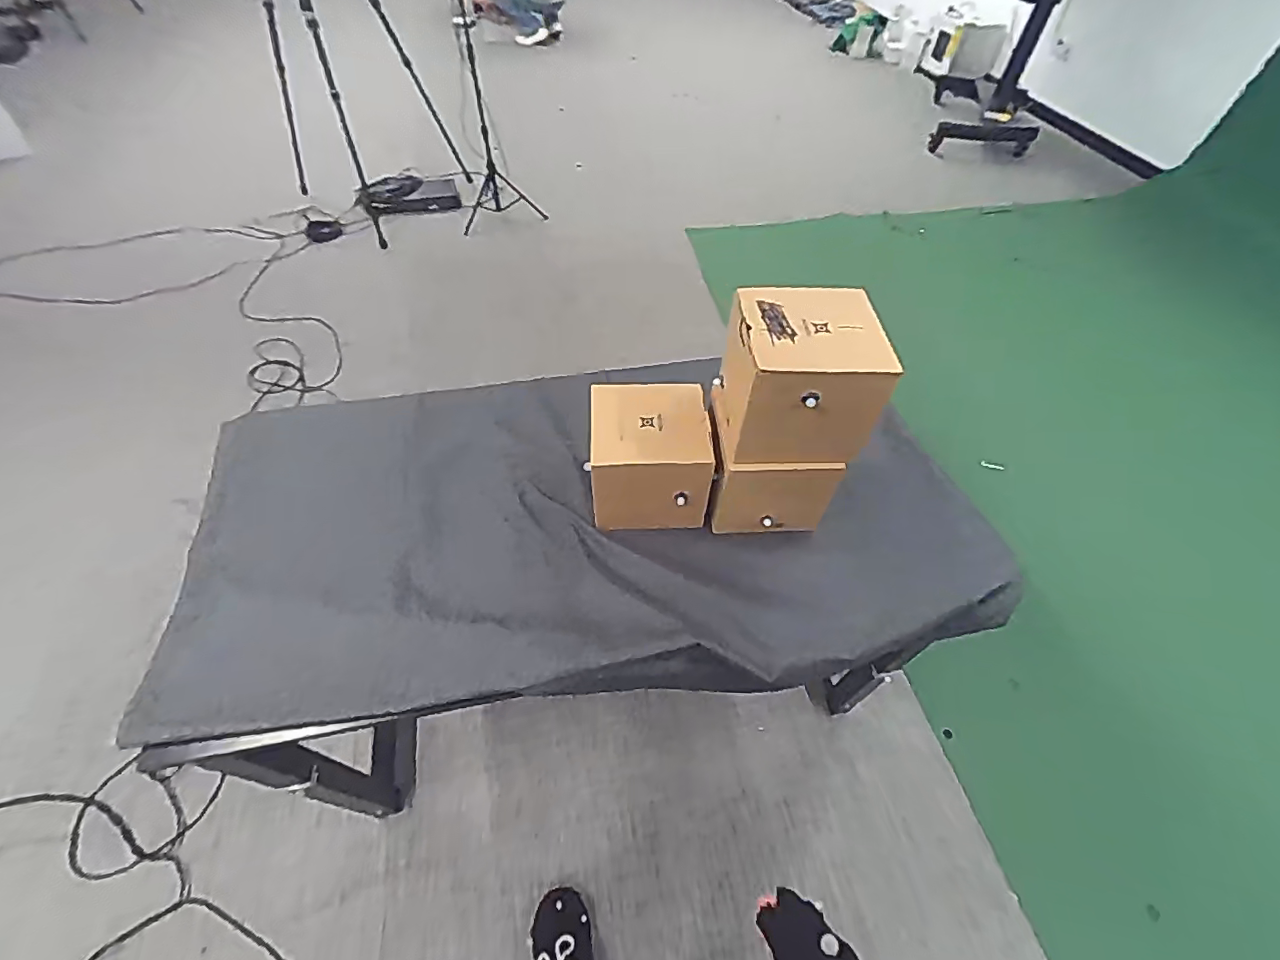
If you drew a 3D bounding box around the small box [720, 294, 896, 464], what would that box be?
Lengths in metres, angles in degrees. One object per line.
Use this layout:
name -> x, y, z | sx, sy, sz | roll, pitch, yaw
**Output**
small box -> 0.210, -0.134, 0.738 | 0.179, 0.176, 0.168 | -1, 53, -3
